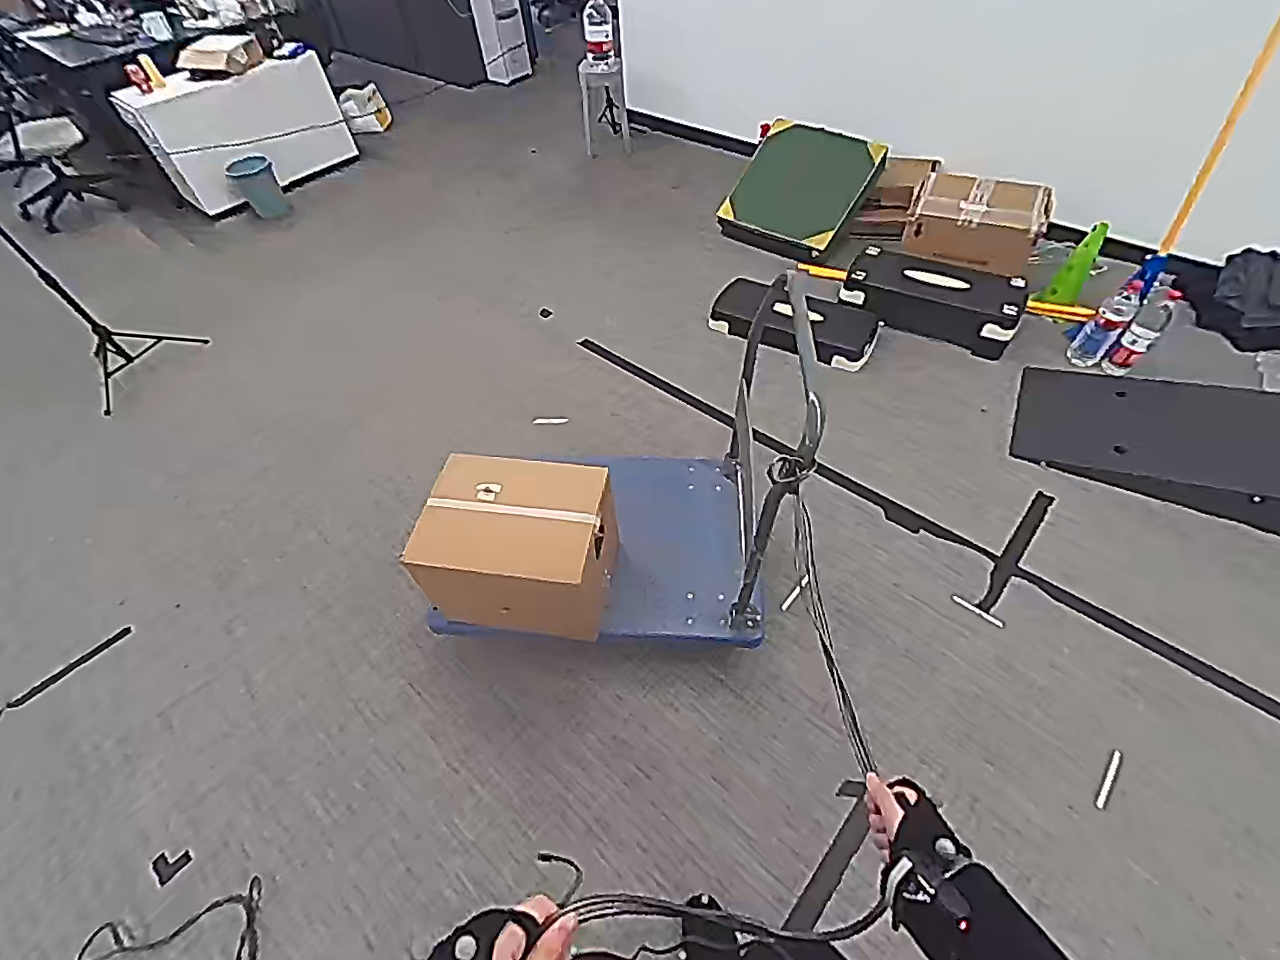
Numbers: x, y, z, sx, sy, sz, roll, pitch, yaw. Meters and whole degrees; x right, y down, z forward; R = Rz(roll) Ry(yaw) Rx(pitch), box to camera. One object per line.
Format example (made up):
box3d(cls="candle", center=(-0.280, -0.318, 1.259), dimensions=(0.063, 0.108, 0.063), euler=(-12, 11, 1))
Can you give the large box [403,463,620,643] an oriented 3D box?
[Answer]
box3d(cls="large box", center=(-0.279, 0.182, 1.329), dimensions=(0.408, 0.320, 0.320), euler=(5, 51, 9))
